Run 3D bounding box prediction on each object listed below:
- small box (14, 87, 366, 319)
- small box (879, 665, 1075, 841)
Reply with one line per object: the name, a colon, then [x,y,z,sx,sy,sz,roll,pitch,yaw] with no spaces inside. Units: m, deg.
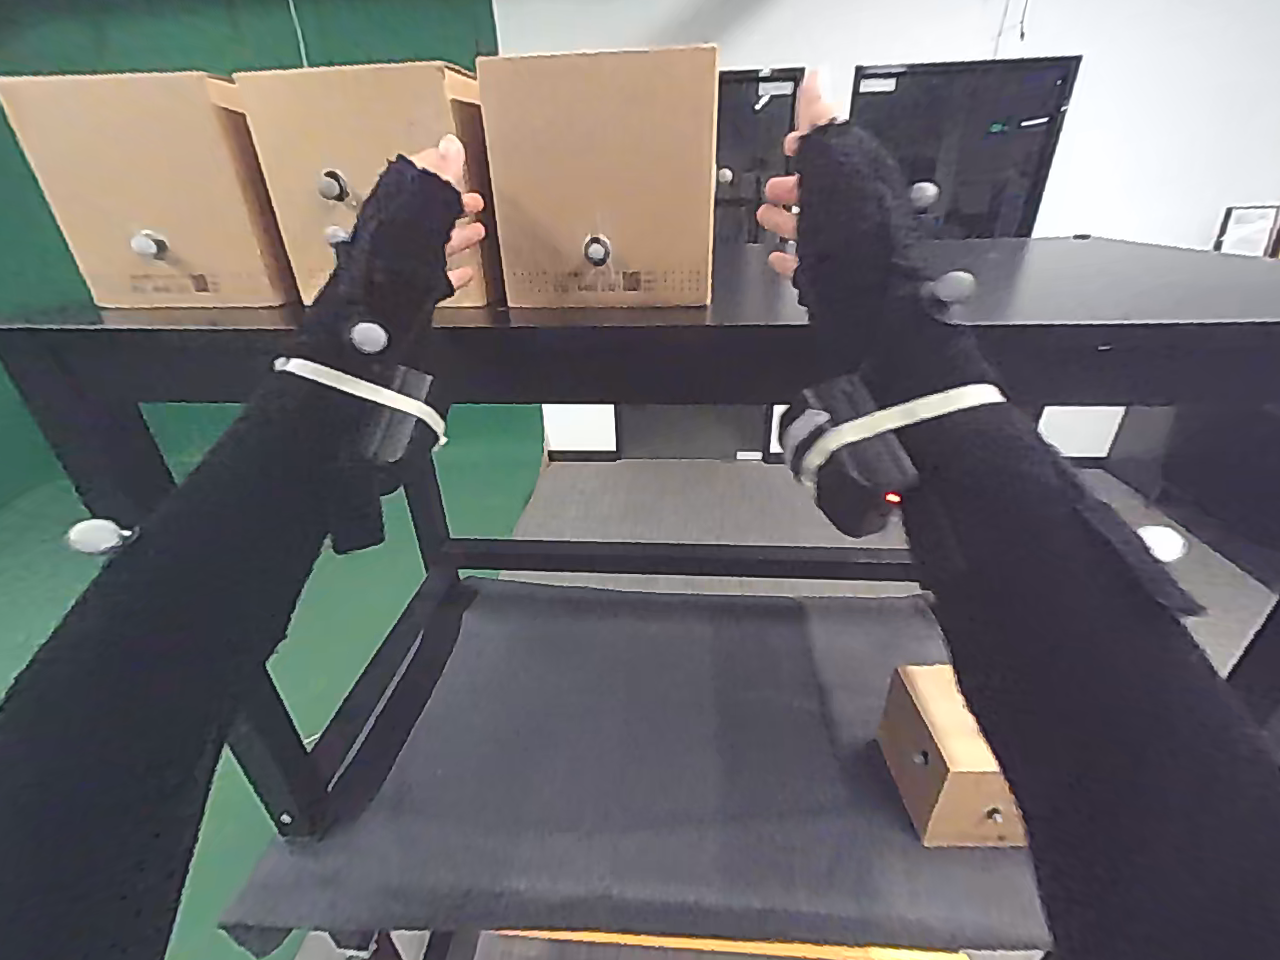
small box: [-0.387,-0.257,0.512,0.168,0.176,0.179,1,29,3]
small box: [0.473,0.397,0.792,0.168,0.176,0.179,-1,27,1]
